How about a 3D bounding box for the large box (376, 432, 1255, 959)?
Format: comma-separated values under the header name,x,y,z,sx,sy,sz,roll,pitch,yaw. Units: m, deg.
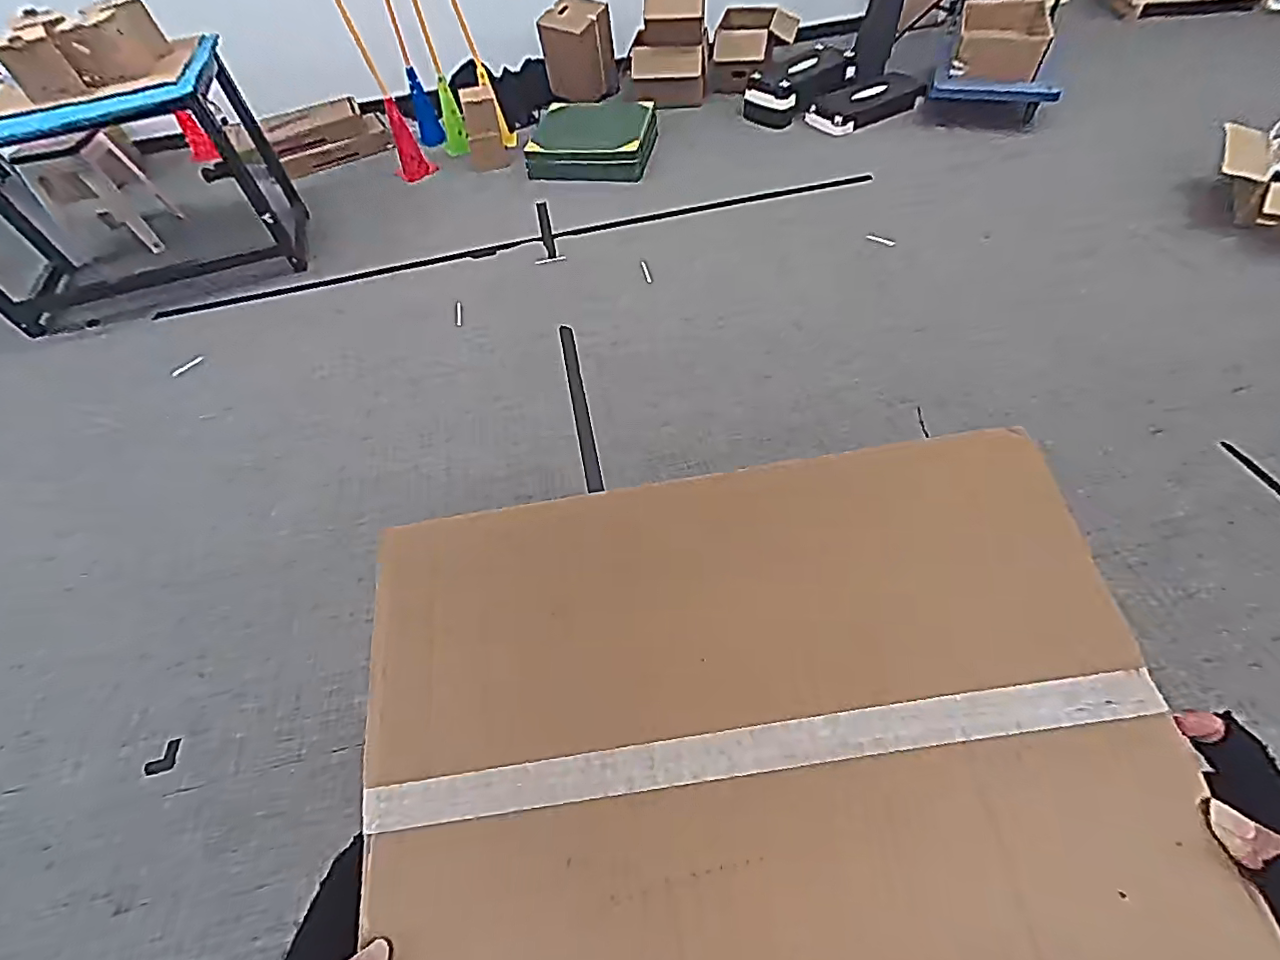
name,x,y,z,sx,sy,sz,roll,pitch,yaw
large box,0.068,0.201,0.424,0.408,0.320,0.320,-10,66,1
